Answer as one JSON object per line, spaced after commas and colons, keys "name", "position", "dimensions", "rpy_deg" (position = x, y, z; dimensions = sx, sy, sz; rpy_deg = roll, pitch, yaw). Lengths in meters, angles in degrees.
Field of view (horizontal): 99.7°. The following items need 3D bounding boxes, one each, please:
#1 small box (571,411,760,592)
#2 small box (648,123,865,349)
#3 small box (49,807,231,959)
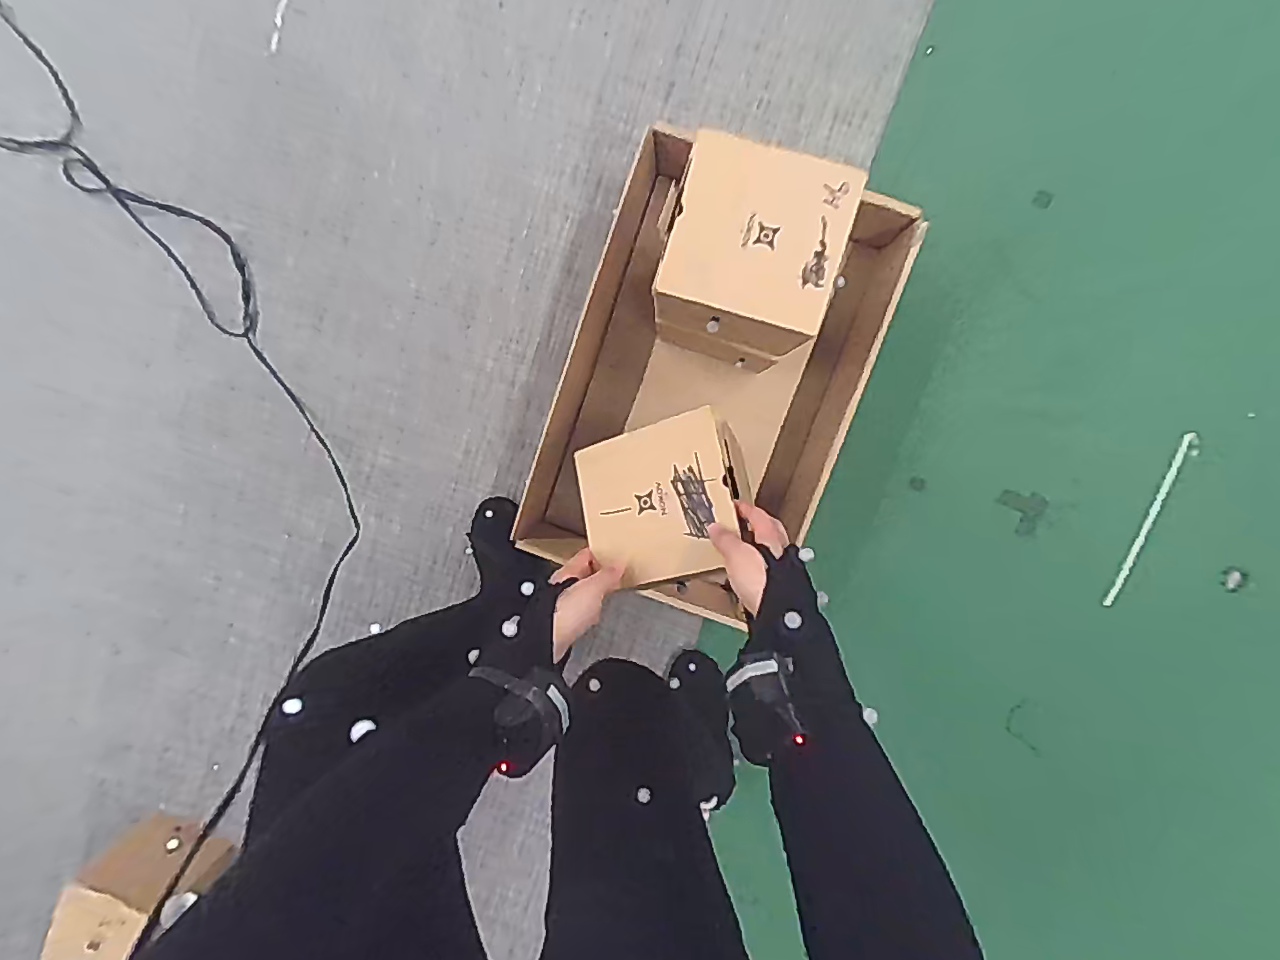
{"name": "small box", "position": [0.040, 0.034, 0.643], "dimensions": [0.179, 0.176, 0.168], "rpy_deg": [-14, 77, 16]}
{"name": "small box", "position": [0.119, -0.257, 0.615], "dimensions": [0.179, 0.176, 0.168], "rpy_deg": [17, 97, 2]}
{"name": "small box", "position": [-0.916, 0.765, 1.007], "dimensions": [0.168, 0.176, 0.179], "rpy_deg": [24, 97, -1]}
